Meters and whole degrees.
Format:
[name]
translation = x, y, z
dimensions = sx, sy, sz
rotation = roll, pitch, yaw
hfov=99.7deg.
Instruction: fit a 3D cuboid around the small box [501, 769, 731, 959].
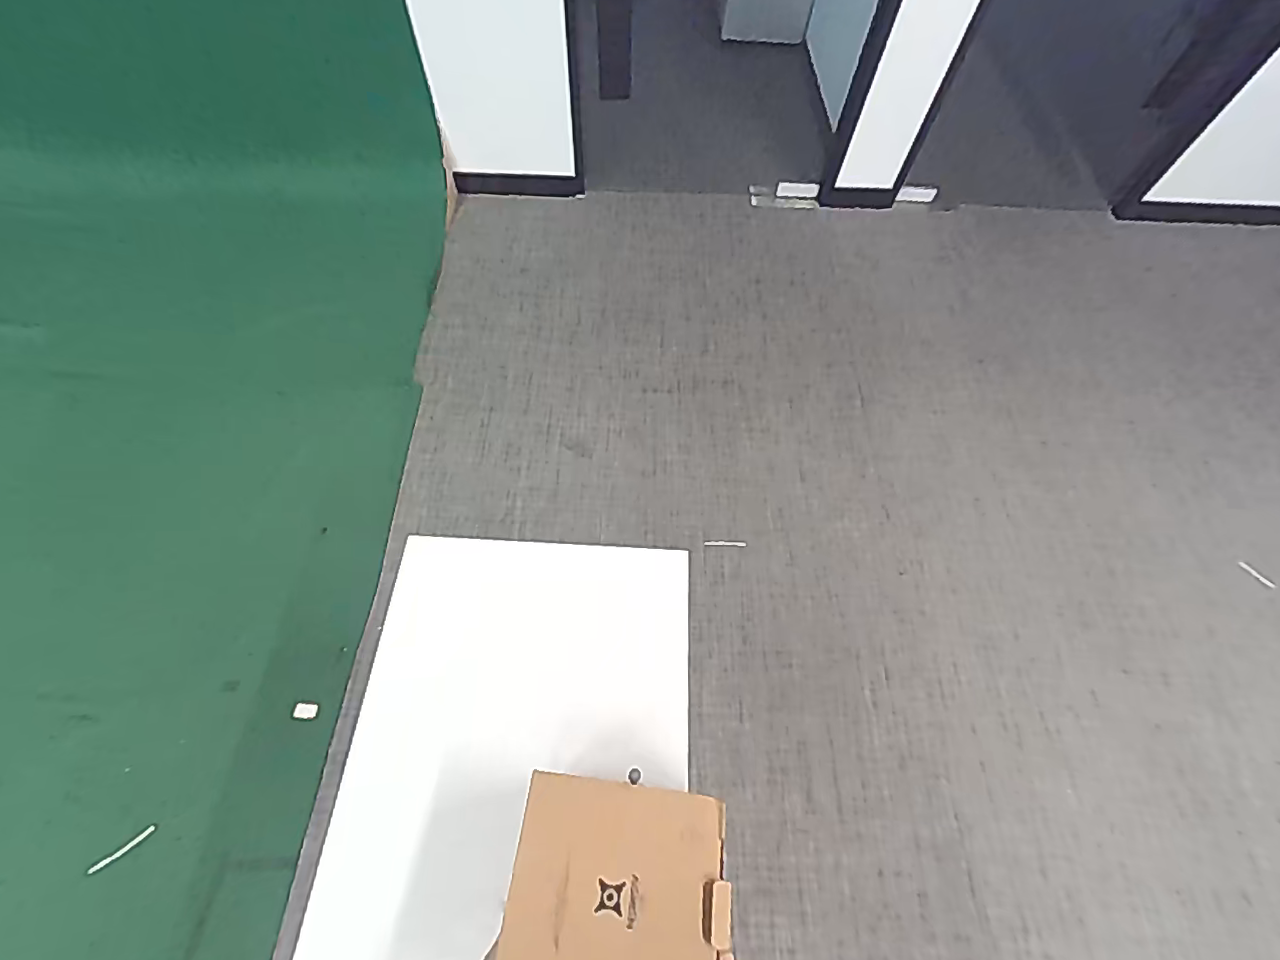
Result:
[small box]
translation = -0.018, 0.380, 0.509
dimensions = 0.179, 0.176, 0.168
rotation = 6, 58, 3
